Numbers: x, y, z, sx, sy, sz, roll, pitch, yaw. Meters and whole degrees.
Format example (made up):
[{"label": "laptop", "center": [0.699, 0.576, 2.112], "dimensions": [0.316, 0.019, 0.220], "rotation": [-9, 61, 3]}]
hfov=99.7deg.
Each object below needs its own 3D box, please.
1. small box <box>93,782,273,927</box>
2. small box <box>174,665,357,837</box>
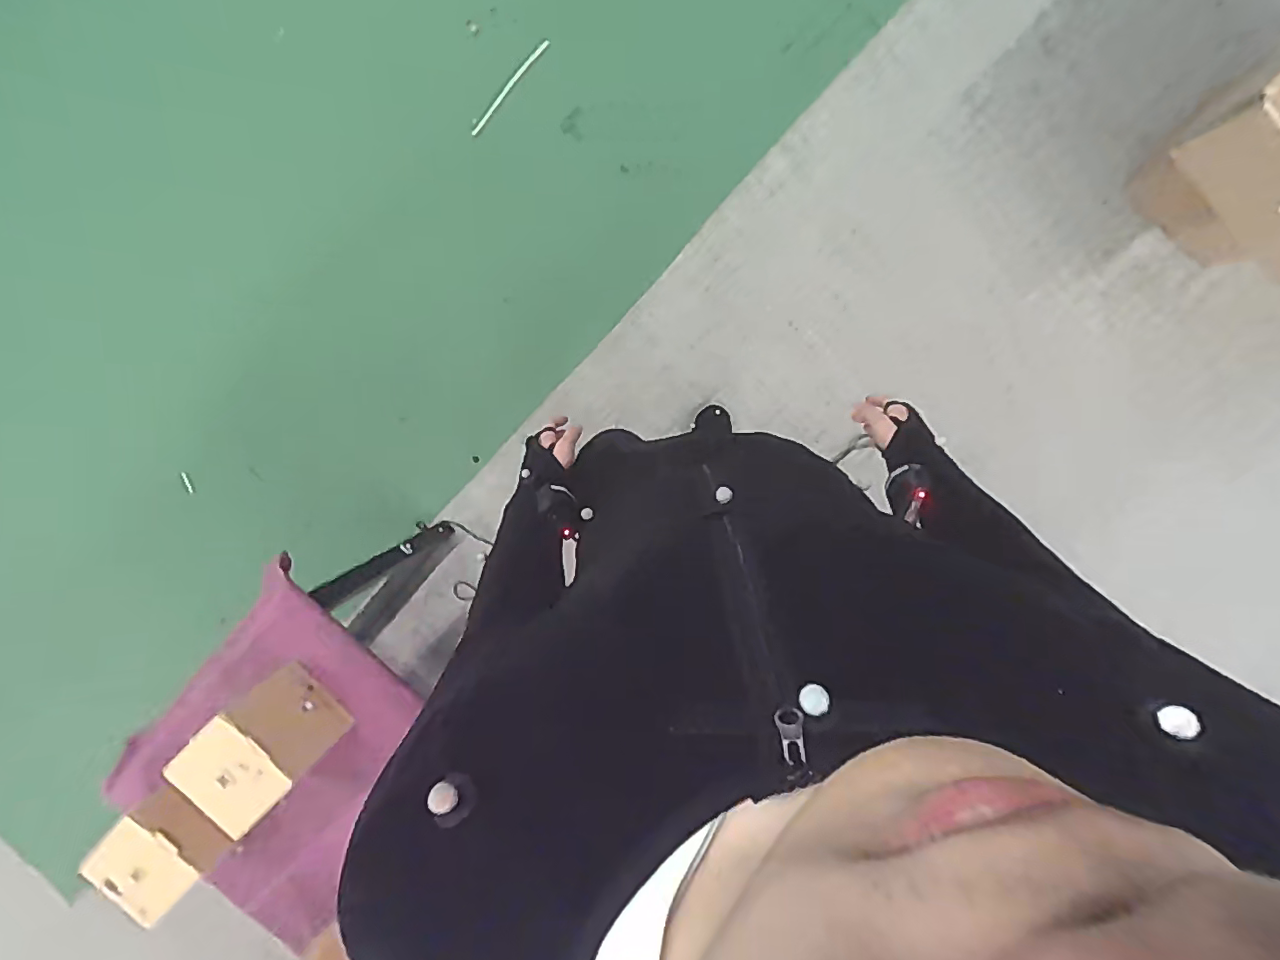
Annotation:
[{"label": "small box", "center": [-0.846, 0.670, 1.024], "dimensions": [0.168, 0.176, 0.179], "rotation": [44, 100, -2]}, {"label": "small box", "center": [-0.654, 0.473, 0.966], "dimensions": [0.179, 0.176, 0.168], "rotation": [-43, 94, 12]}]
